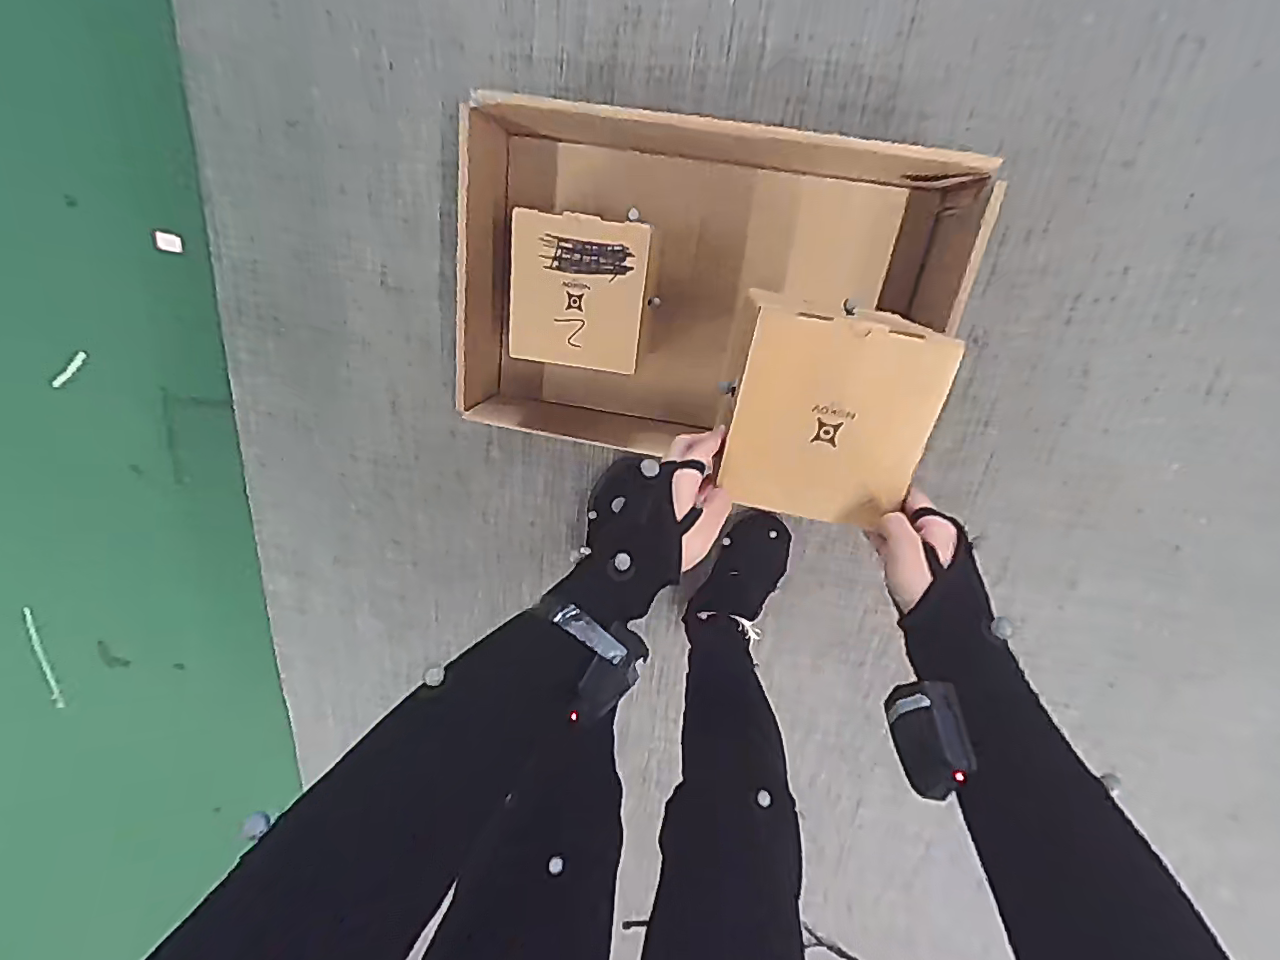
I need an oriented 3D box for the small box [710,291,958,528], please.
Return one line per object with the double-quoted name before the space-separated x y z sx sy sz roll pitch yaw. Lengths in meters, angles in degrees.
"small box" 0.170 -0.080 0.538 0.168 0.176 0.179 11 113 3
